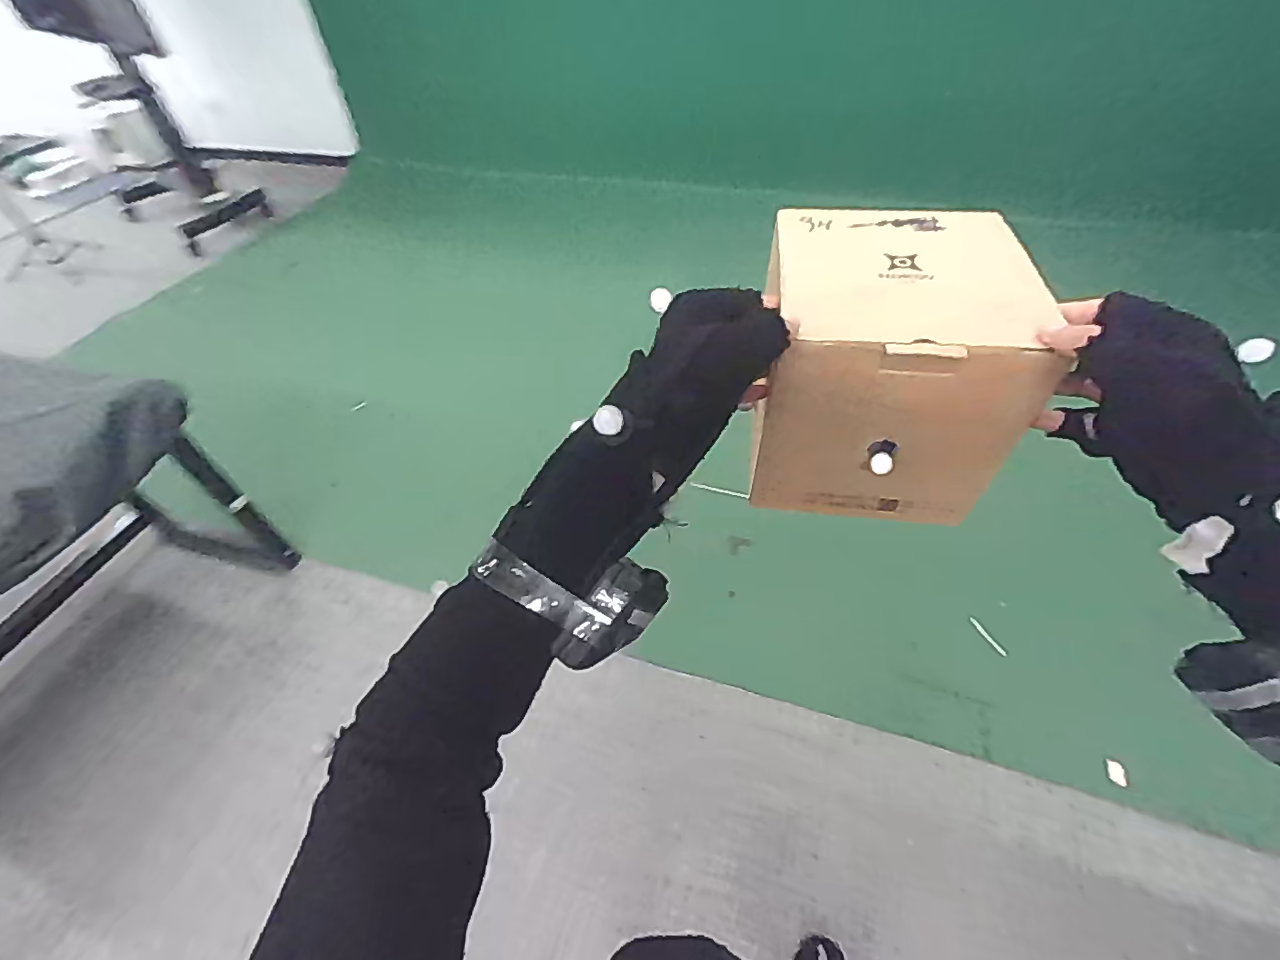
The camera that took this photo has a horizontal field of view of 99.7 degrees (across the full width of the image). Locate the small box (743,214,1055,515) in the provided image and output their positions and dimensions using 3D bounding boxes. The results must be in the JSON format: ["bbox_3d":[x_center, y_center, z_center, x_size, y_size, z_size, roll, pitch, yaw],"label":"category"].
[{"bbox_3d":[0.175,-0.089,0.433,0.168,0.176,0.179,4,51,7],"label":"small box"}]
